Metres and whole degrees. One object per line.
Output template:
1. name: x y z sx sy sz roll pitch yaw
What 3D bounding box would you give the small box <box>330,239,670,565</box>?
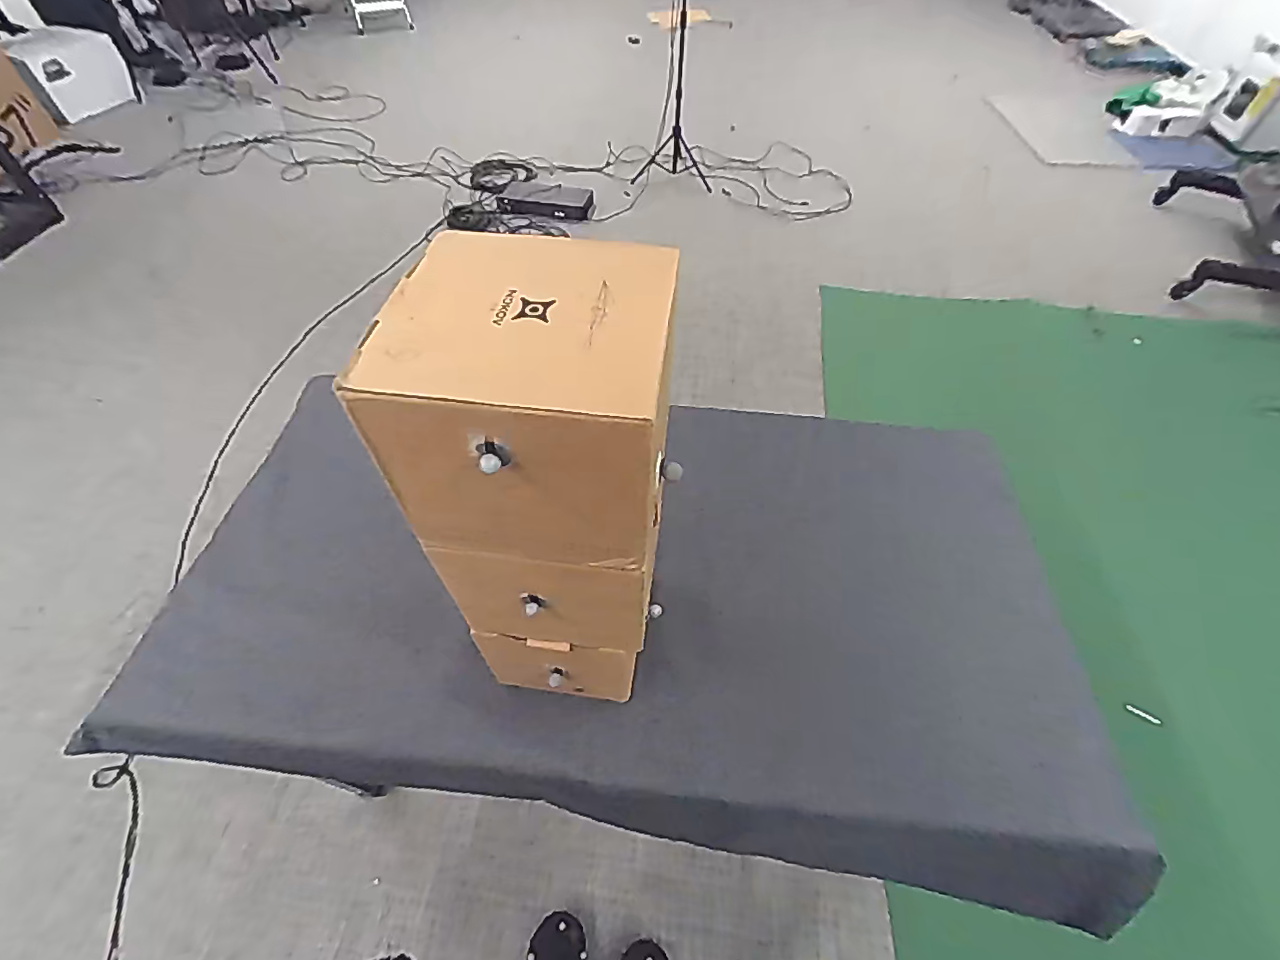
1. small box: -0.074 -0.052 0.396 0.179 0.176 0.168 5 53 3

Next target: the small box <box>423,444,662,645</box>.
1. small box: -0.073 0.048 0.524 0.179 0.176 0.168 4 52 5

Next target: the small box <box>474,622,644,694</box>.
1. small box: -0.078 0.145 0.657 0.168 0.176 0.179 5 53 5
